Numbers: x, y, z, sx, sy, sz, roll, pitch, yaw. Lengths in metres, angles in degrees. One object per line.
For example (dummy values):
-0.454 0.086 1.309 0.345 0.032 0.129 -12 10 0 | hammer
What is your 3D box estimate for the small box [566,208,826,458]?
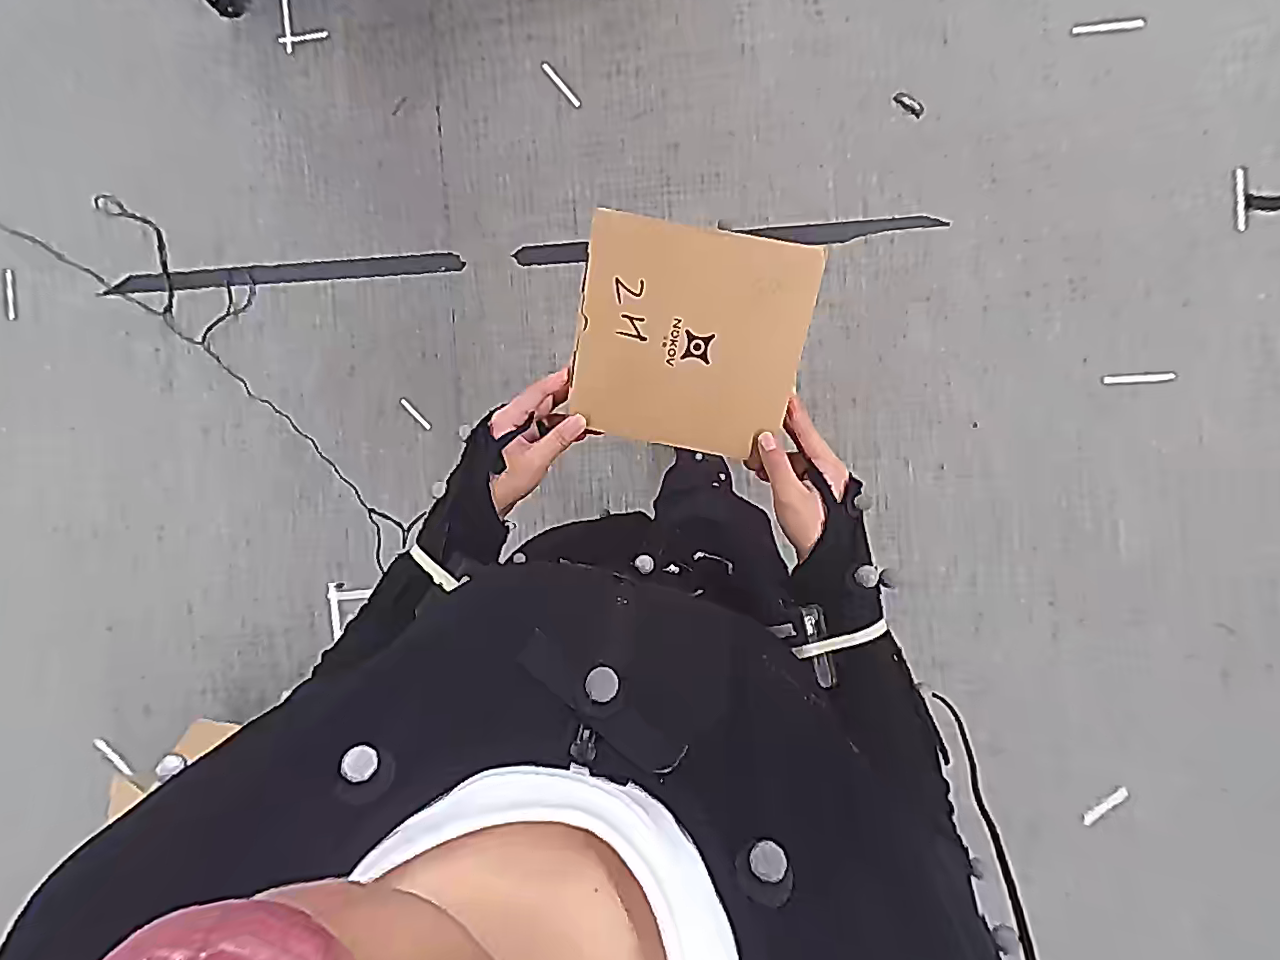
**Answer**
0.045 -0.134 0.495 0.179 0.176 0.168 11 109 3 | small box
